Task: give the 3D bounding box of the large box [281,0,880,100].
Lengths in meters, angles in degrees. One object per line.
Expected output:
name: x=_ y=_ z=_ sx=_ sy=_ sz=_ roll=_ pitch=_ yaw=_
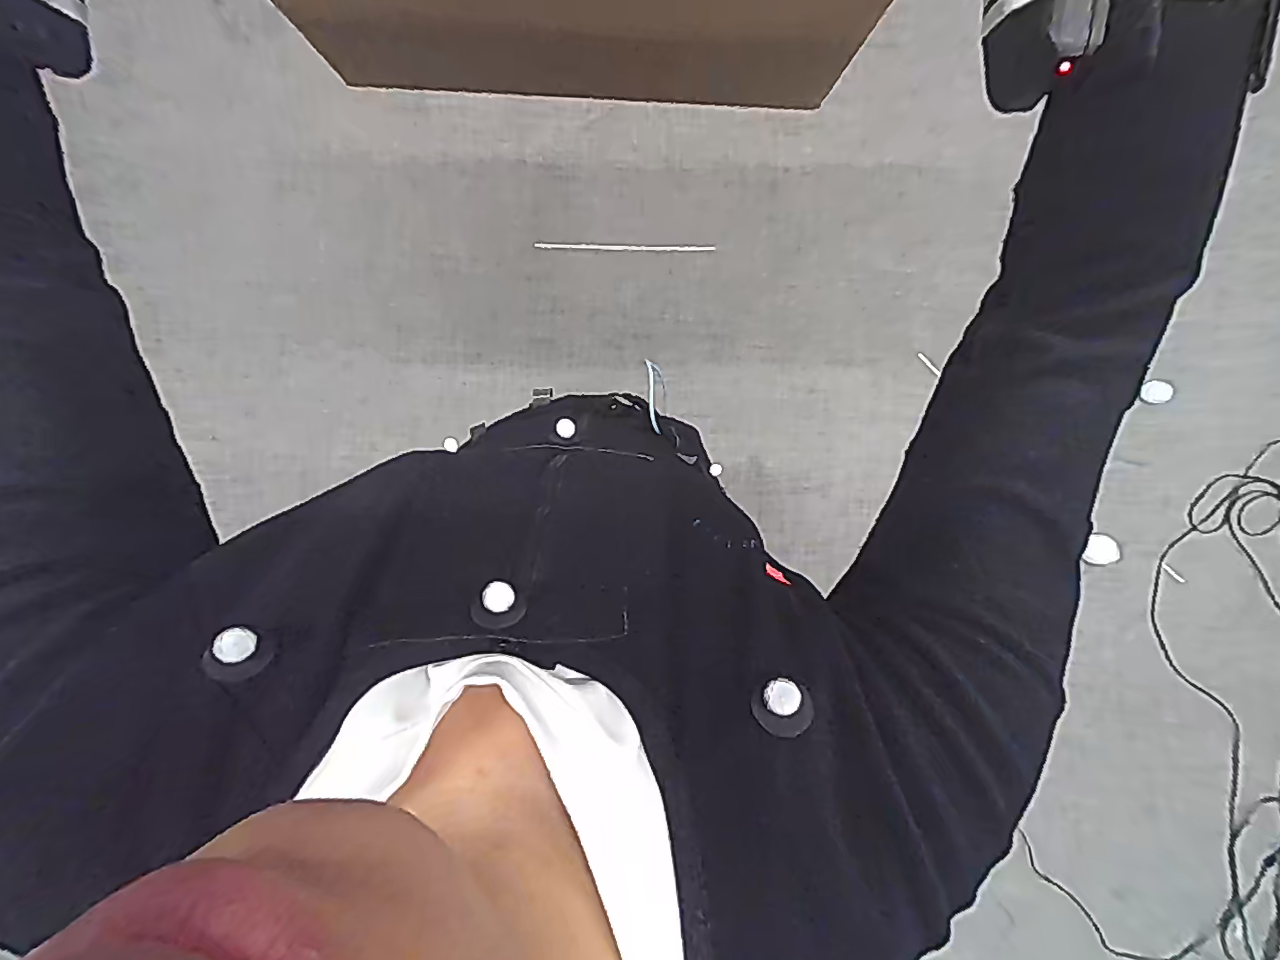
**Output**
large box: x=-0.038 y=-0.452 z=0.291 sx=0.408 sy=0.320 sz=0.320 roll=1 pitch=101 yaw=-2
